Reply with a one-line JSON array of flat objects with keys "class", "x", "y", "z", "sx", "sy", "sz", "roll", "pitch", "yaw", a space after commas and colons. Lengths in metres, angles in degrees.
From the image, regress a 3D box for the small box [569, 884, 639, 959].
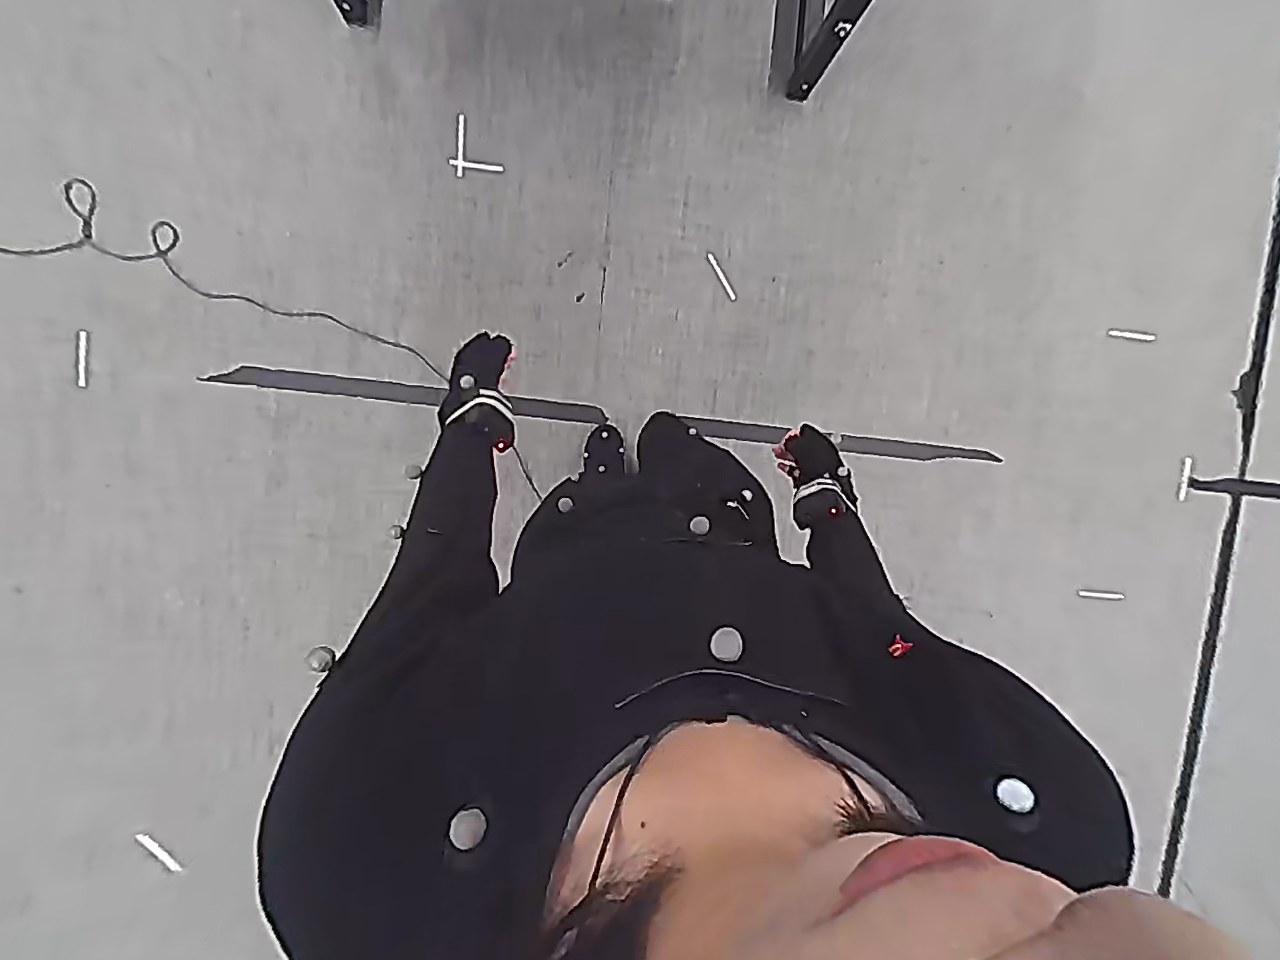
[{"class": "small box", "x": -0.098, "y": 1.299, "z": 1.522, "sx": 0.168, "sy": 0.176, "sz": 0.179, "roll": -15, "pitch": 95, "yaw": -5}]
